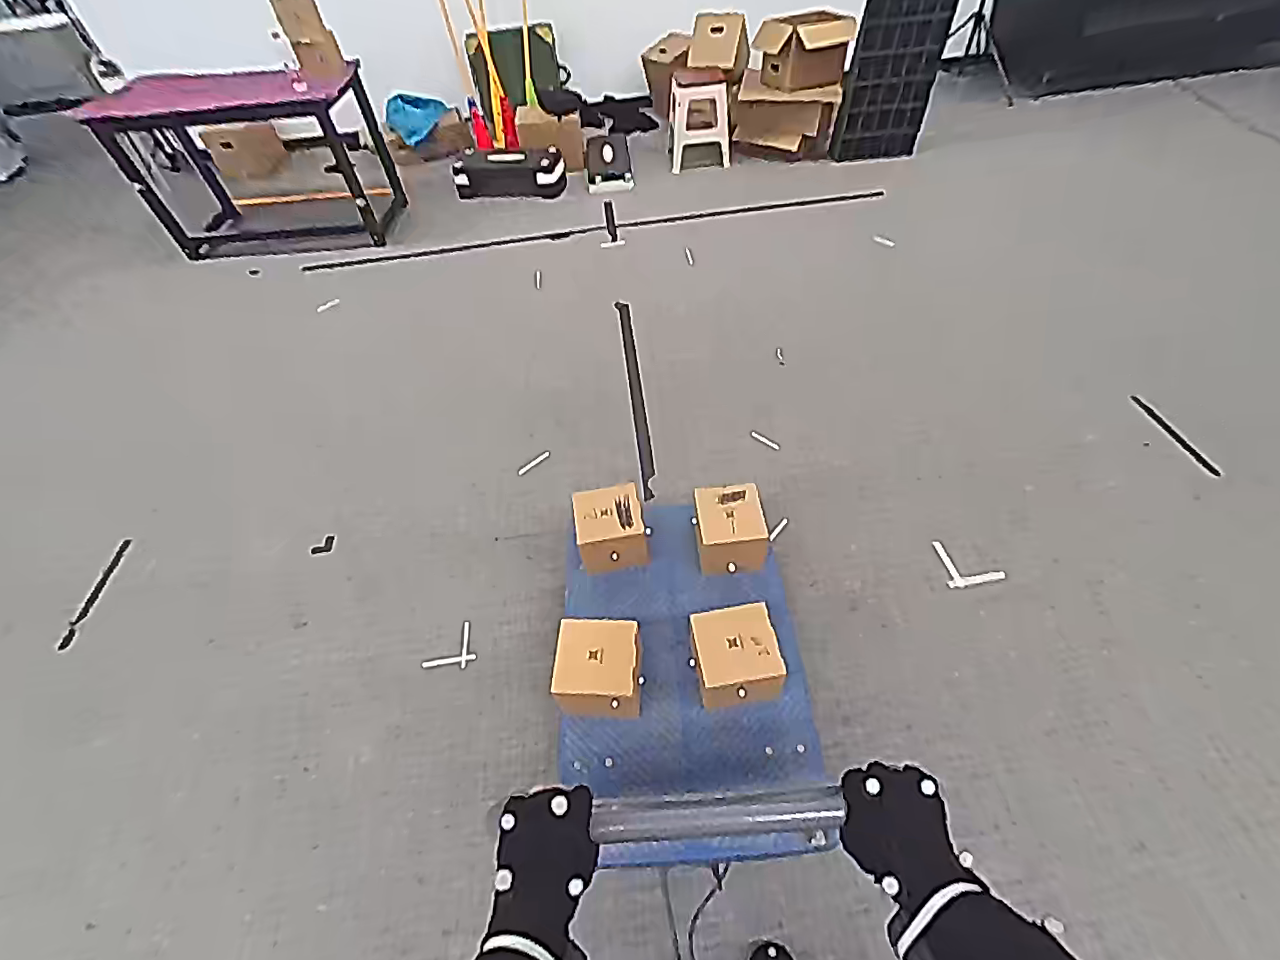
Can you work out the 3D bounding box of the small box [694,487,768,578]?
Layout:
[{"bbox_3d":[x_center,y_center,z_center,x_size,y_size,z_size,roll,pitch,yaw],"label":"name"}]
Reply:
[{"bbox_3d":[0.236,0.143,1.451,0.168,0.176,0.179,-6,52,1],"label":"small box"}]

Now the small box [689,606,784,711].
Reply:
[{"bbox_3d":[0.214,0.411,1.235,0.179,0.176,0.168,-9,51,-2],"label":"small box"}]

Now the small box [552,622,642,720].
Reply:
[{"bbox_3d":[-0.091,0.441,1.242,0.179,0.176,0.168,0,50,4],"label":"small box"}]
